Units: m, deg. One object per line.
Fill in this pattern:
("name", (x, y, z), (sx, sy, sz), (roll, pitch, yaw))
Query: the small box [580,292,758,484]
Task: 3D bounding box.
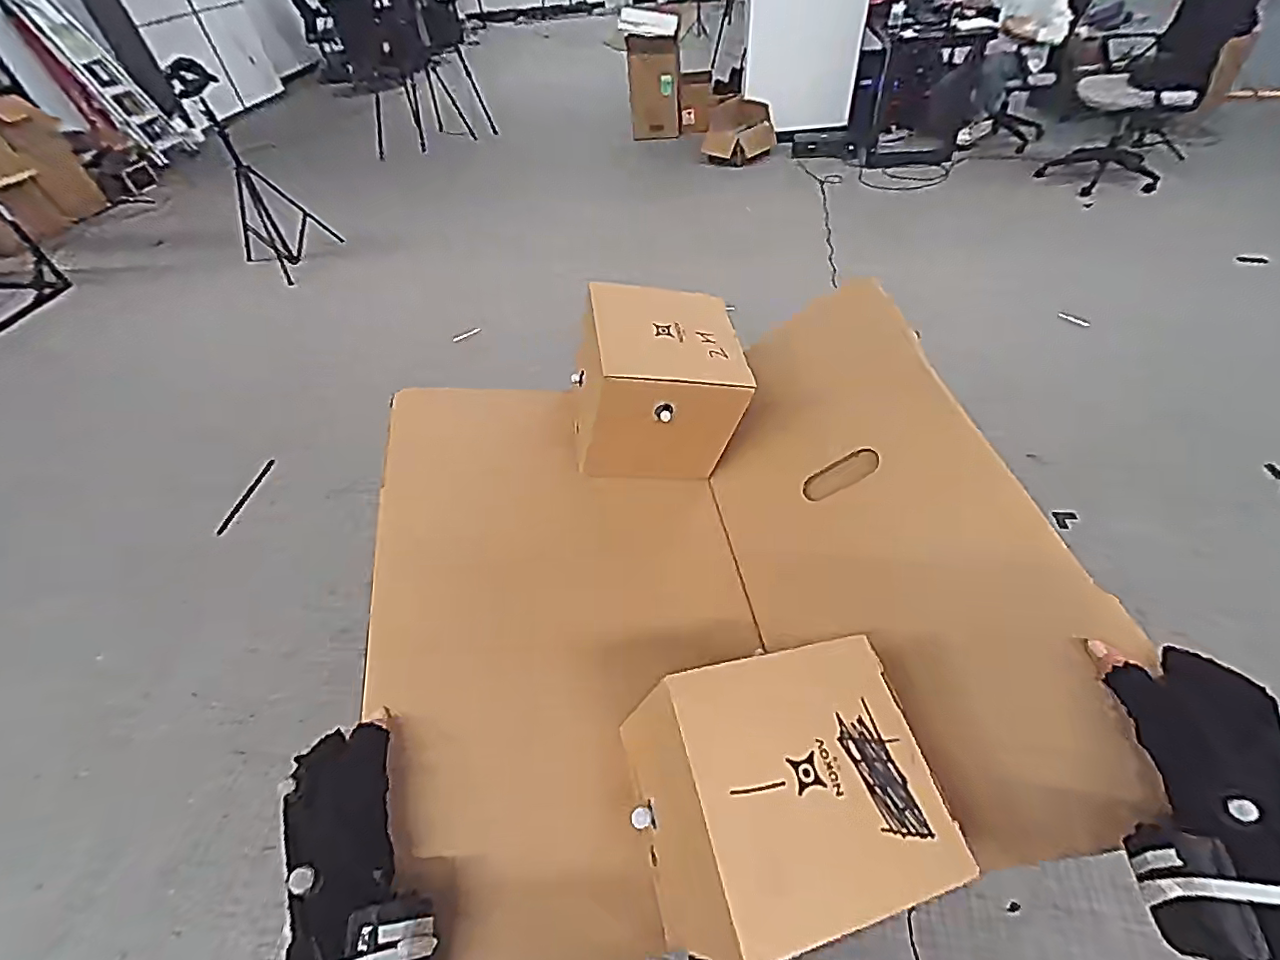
("small box", (0.020, -0.108, 0.680), (0.179, 0.176, 0.168), (2, 53, -15))
